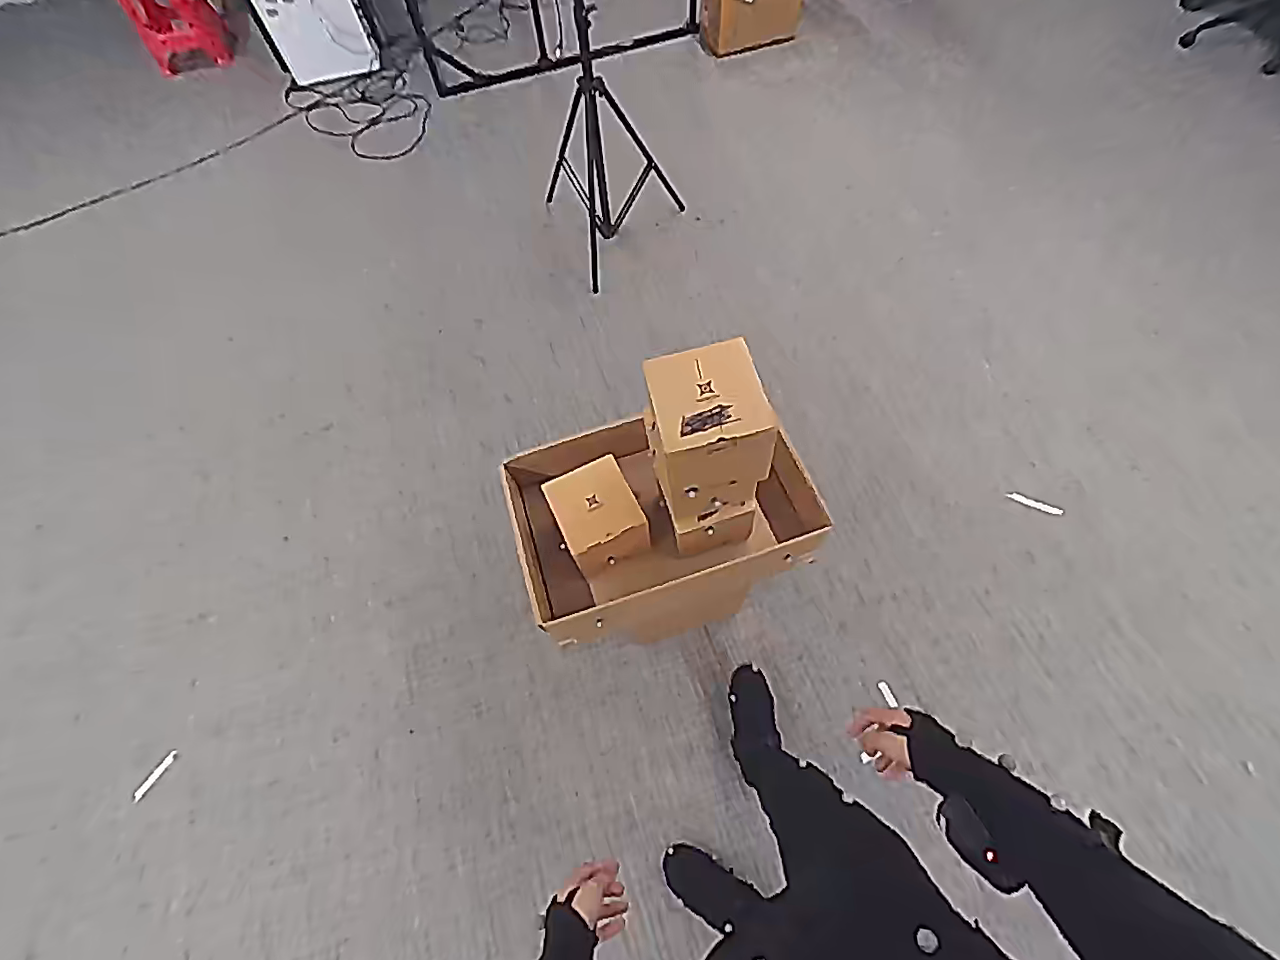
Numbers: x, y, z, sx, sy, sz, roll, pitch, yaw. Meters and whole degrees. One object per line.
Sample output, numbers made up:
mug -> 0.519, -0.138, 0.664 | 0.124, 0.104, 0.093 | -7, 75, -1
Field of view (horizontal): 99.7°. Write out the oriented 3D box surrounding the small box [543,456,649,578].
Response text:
small box -> -0.091, 0.085, 1.164 | 0.168, 0.176, 0.179 | -25, 65, -9

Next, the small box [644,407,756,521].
small box -> 0.114, -0.046, 1.031 | 0.168, 0.176, 0.179 | -18, 64, -1

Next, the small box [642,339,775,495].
small box -> 0.108, -0.090, 0.869 | 0.168, 0.176, 0.179 | -13, 63, 1
